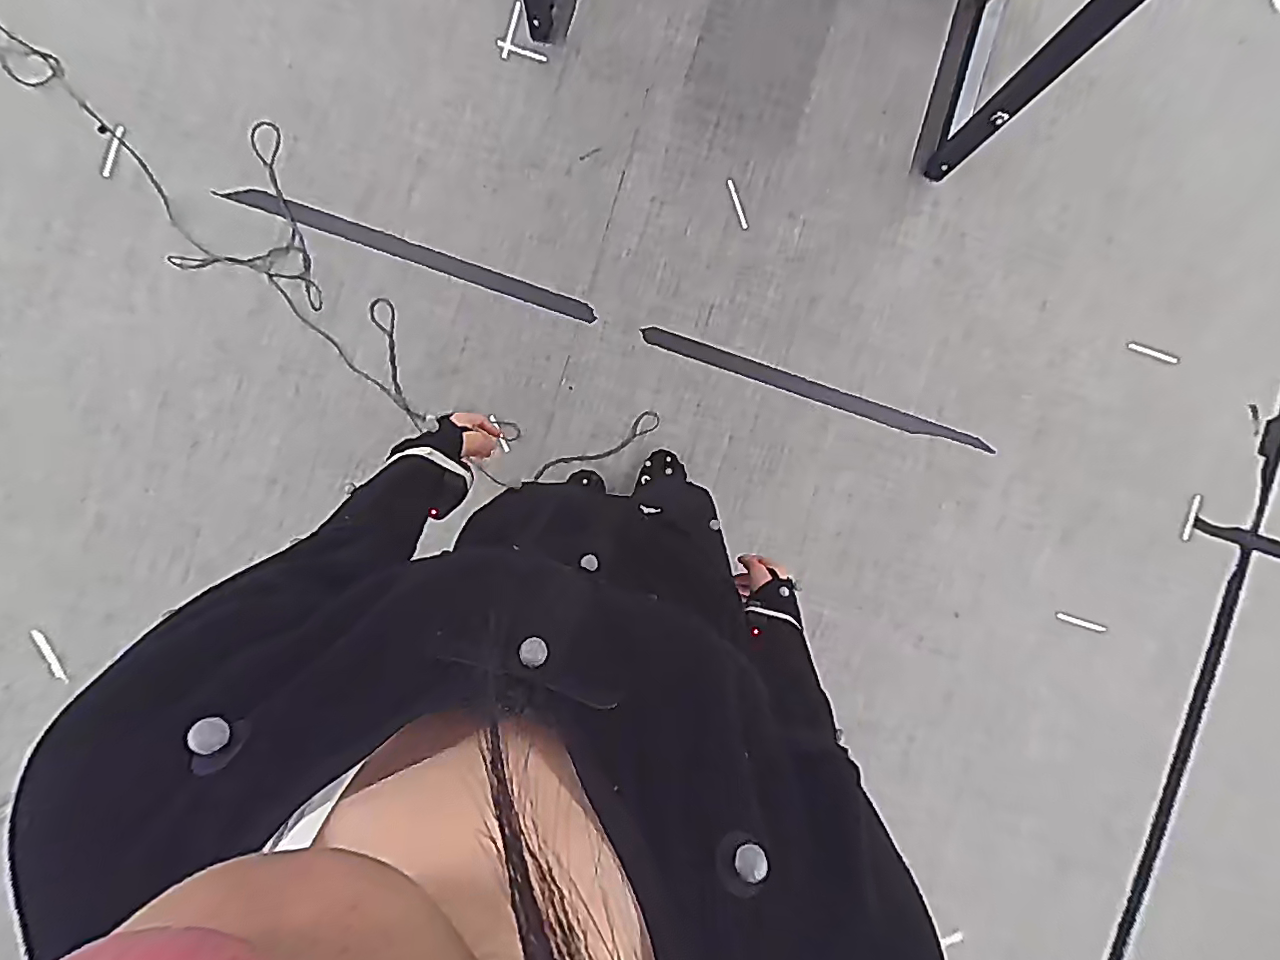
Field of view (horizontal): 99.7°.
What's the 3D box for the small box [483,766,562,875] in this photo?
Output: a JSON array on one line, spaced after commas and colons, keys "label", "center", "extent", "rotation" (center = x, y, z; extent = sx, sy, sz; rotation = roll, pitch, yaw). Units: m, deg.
[{"label": "small box", "center": [-0.296, 0.869, 1.397], "extent": [0.168, 0.176, 0.179], "rotation": [8, 91, -4]}]
